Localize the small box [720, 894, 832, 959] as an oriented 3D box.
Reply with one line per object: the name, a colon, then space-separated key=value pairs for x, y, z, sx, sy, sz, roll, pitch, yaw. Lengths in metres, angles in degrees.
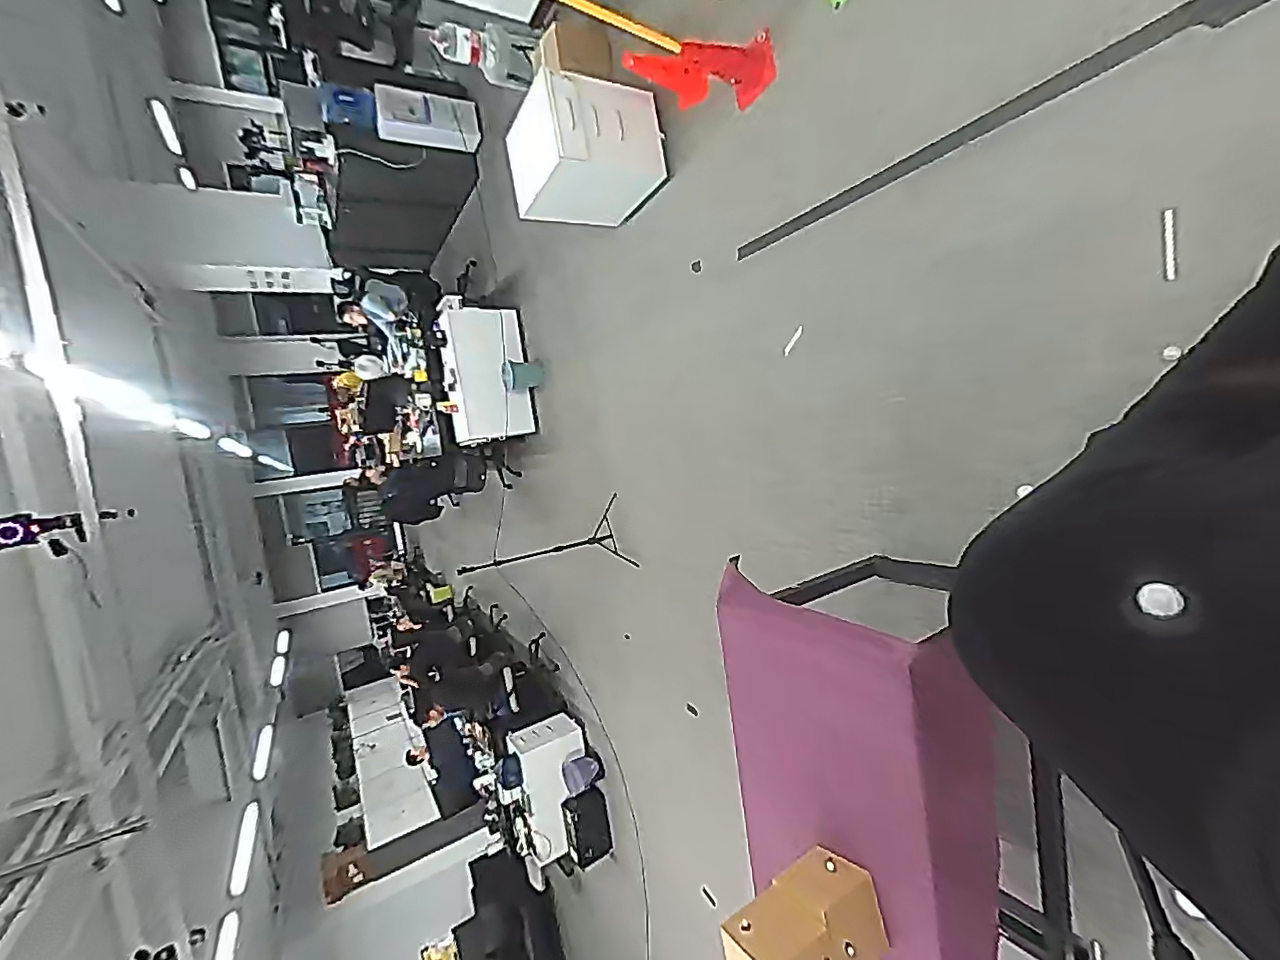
small box: x=0.307 y=1.071 z=1.196 sx=0.179 sy=0.176 sz=0.168 roll=-10 pitch=92 yaw=60

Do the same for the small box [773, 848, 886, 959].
small box: x=0.447 y=1.023 z=1.273 sx=0.168 sy=0.176 sz=0.179 roll=-20 pitch=82 yaw=59
